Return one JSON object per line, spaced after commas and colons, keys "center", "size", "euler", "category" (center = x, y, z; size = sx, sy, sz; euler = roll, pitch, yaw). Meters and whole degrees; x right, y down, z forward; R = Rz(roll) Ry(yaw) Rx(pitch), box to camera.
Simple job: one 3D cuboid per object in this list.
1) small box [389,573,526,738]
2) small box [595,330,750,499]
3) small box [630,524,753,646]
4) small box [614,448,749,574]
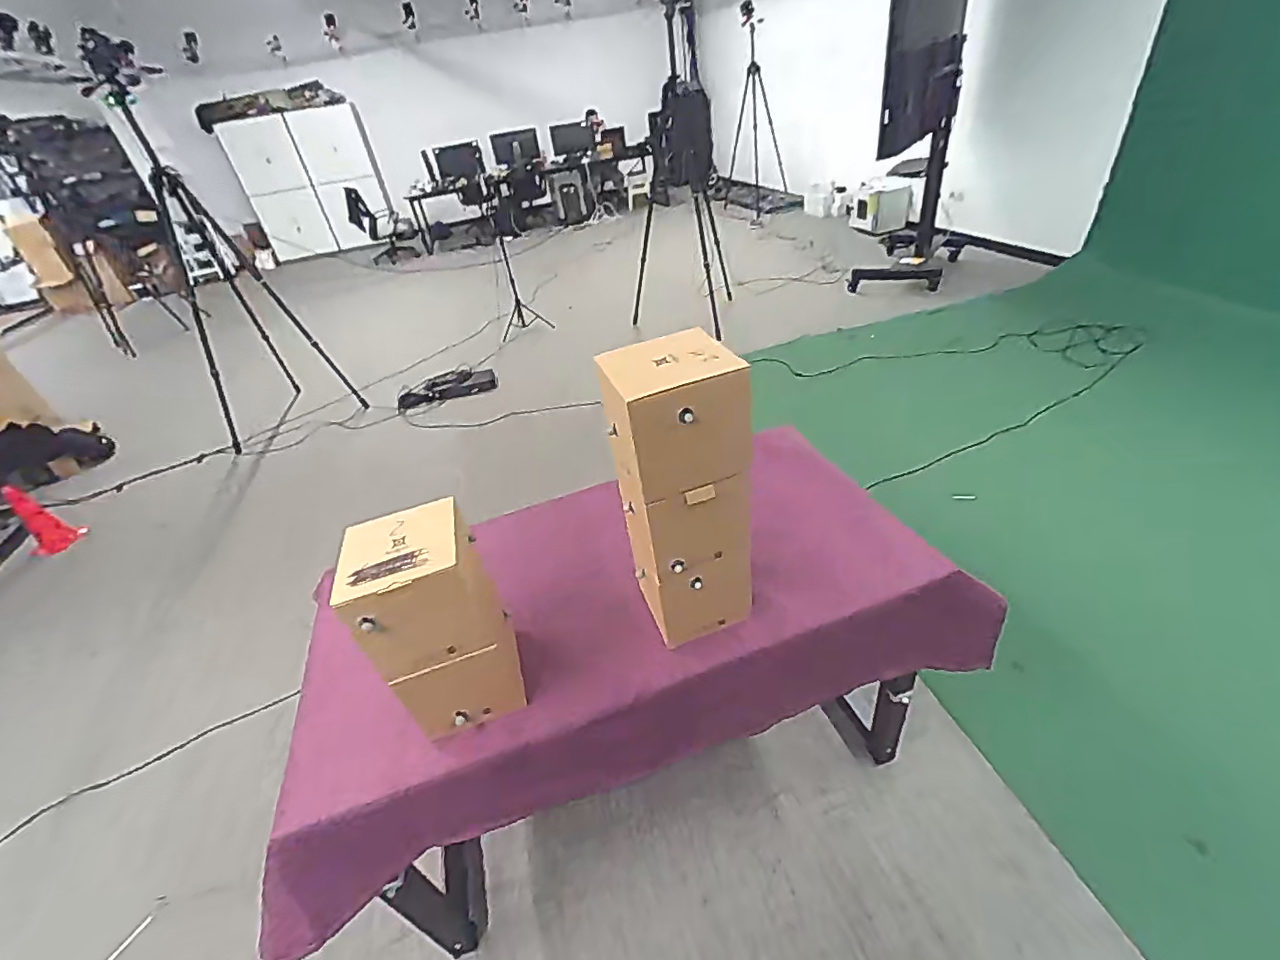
{"center": [-0.301, 0.293, 0.913], "size": [0.168, 0.176, 0.179], "euler": [-17, 37, -9], "category": "small box"}
{"center": [0.050, -0.095, 0.792], "size": [0.179, 0.176, 0.168], "euler": [-17, 38, -10], "category": "small box"}
{"center": [0.093, 0.166, 0.989], "size": [0.168, 0.176, 0.179], "euler": [-19, 36, -9], "category": "small box"}
{"center": [0.070, 0.034, 0.893], "size": [0.168, 0.176, 0.179], "euler": [-18, 36, -11], "category": "small box"}
